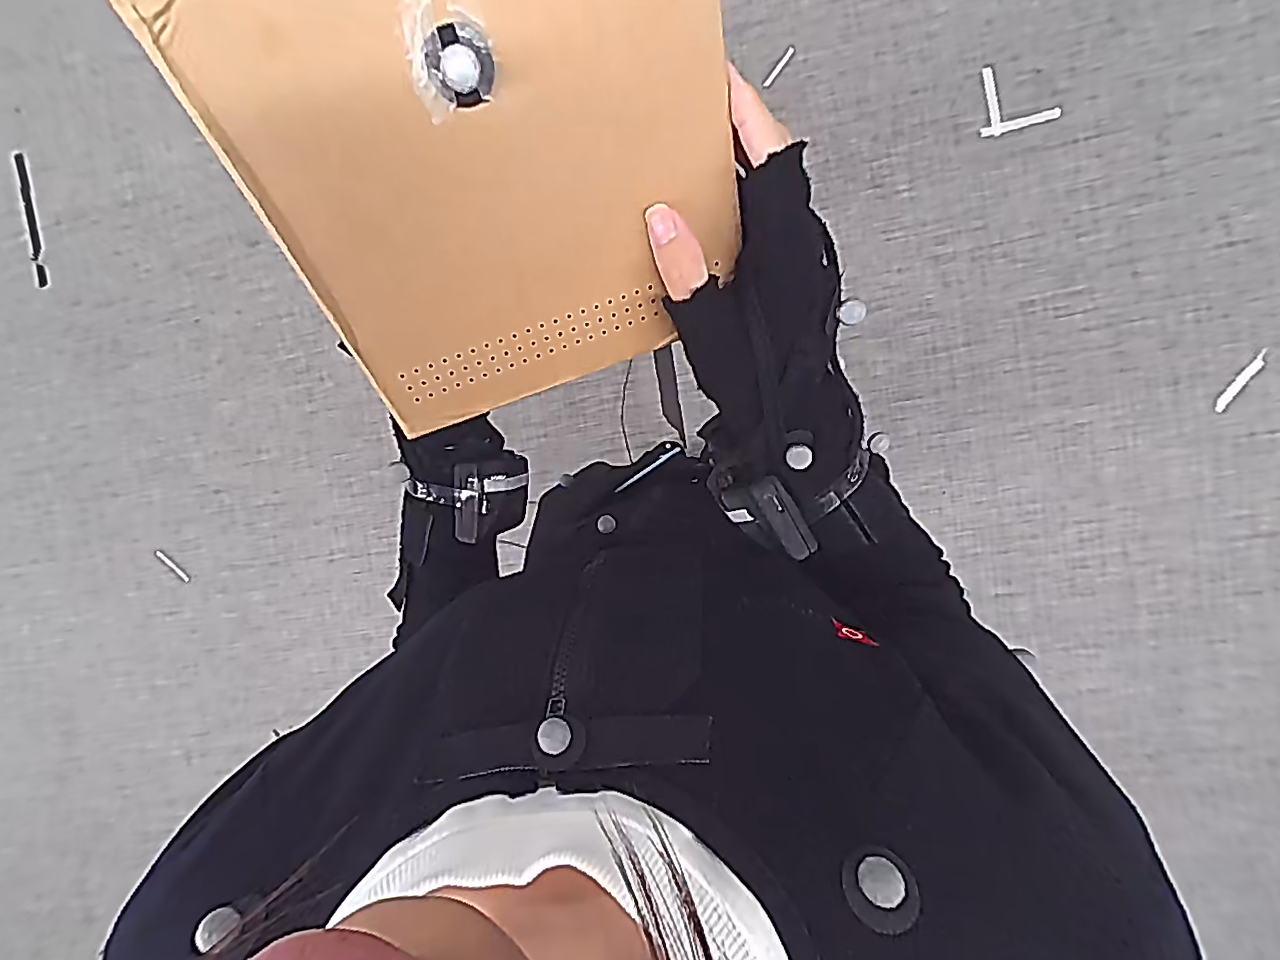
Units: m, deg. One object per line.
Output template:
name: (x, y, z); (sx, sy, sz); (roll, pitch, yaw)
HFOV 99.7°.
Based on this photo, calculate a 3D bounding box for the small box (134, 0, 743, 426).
small box: (-0.065, -0.153, 0.267); (0.179, 0.168, 0.176); (-21, 134, -3)
